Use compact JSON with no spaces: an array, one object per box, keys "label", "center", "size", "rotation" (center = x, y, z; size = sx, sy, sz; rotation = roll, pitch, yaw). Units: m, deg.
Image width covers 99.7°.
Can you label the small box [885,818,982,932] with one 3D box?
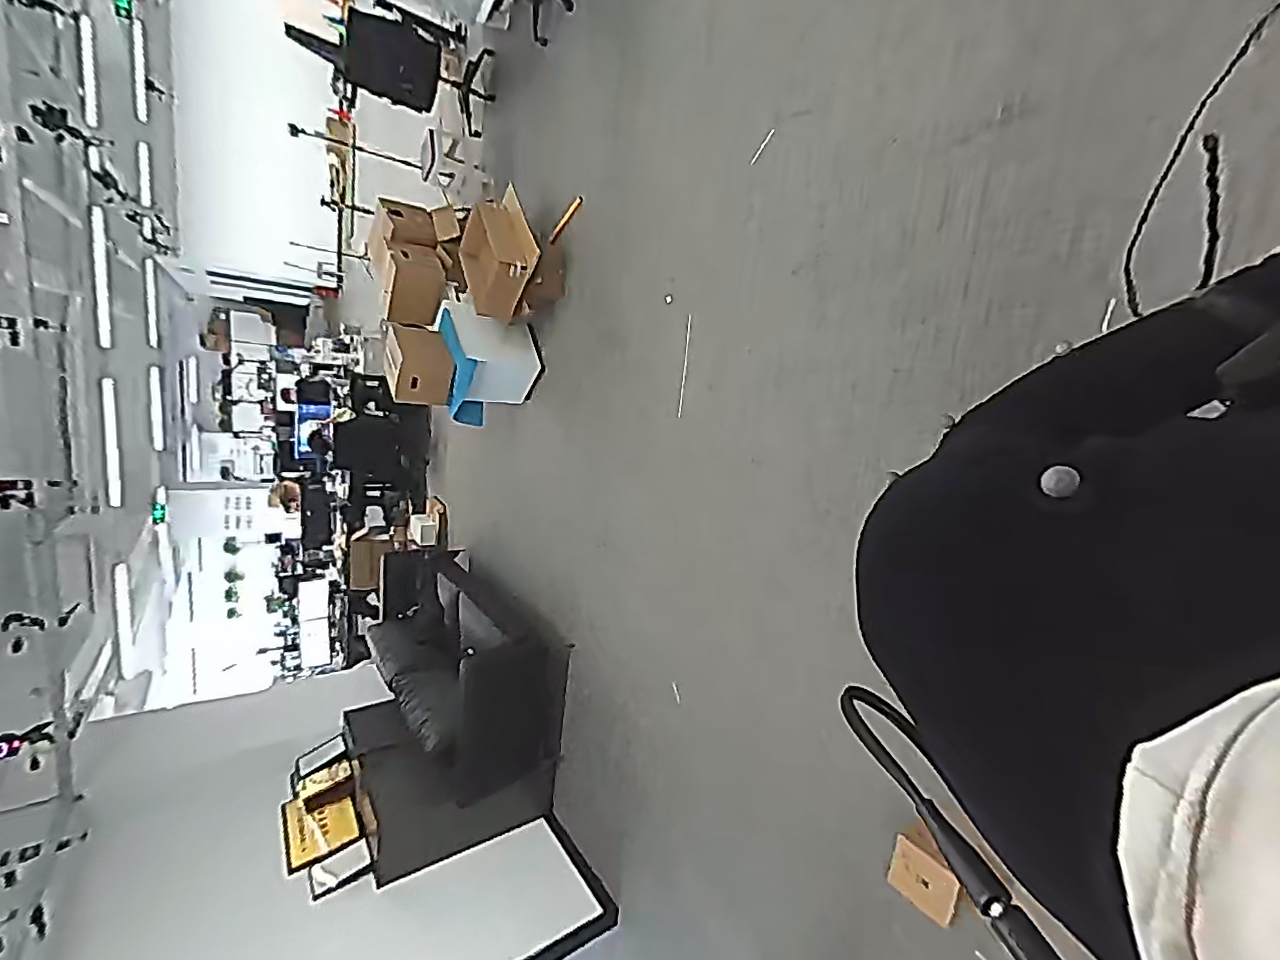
[{"label":"small box","center":[0.838,1.111,1.541],"size":[0.179,0.176,0.168],"rotation":[21,107,52]}]
